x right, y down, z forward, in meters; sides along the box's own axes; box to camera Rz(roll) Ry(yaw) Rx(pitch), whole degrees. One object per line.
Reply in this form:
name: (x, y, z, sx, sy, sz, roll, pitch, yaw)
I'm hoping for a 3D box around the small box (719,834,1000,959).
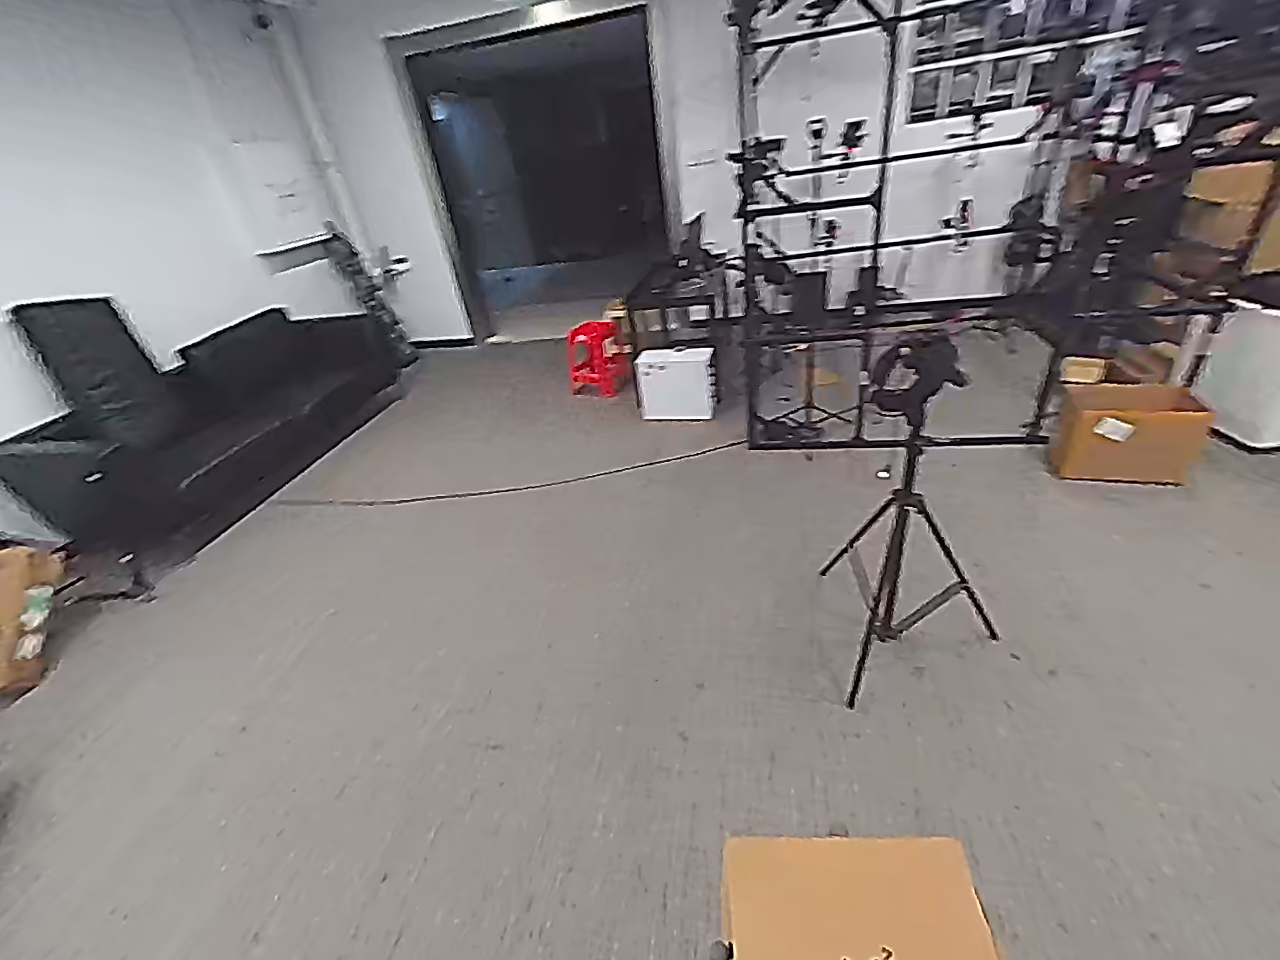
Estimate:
small box: (0.152, 0.381, 0.399, 0.179, 0.176, 0.168, -3, 42, 3)
